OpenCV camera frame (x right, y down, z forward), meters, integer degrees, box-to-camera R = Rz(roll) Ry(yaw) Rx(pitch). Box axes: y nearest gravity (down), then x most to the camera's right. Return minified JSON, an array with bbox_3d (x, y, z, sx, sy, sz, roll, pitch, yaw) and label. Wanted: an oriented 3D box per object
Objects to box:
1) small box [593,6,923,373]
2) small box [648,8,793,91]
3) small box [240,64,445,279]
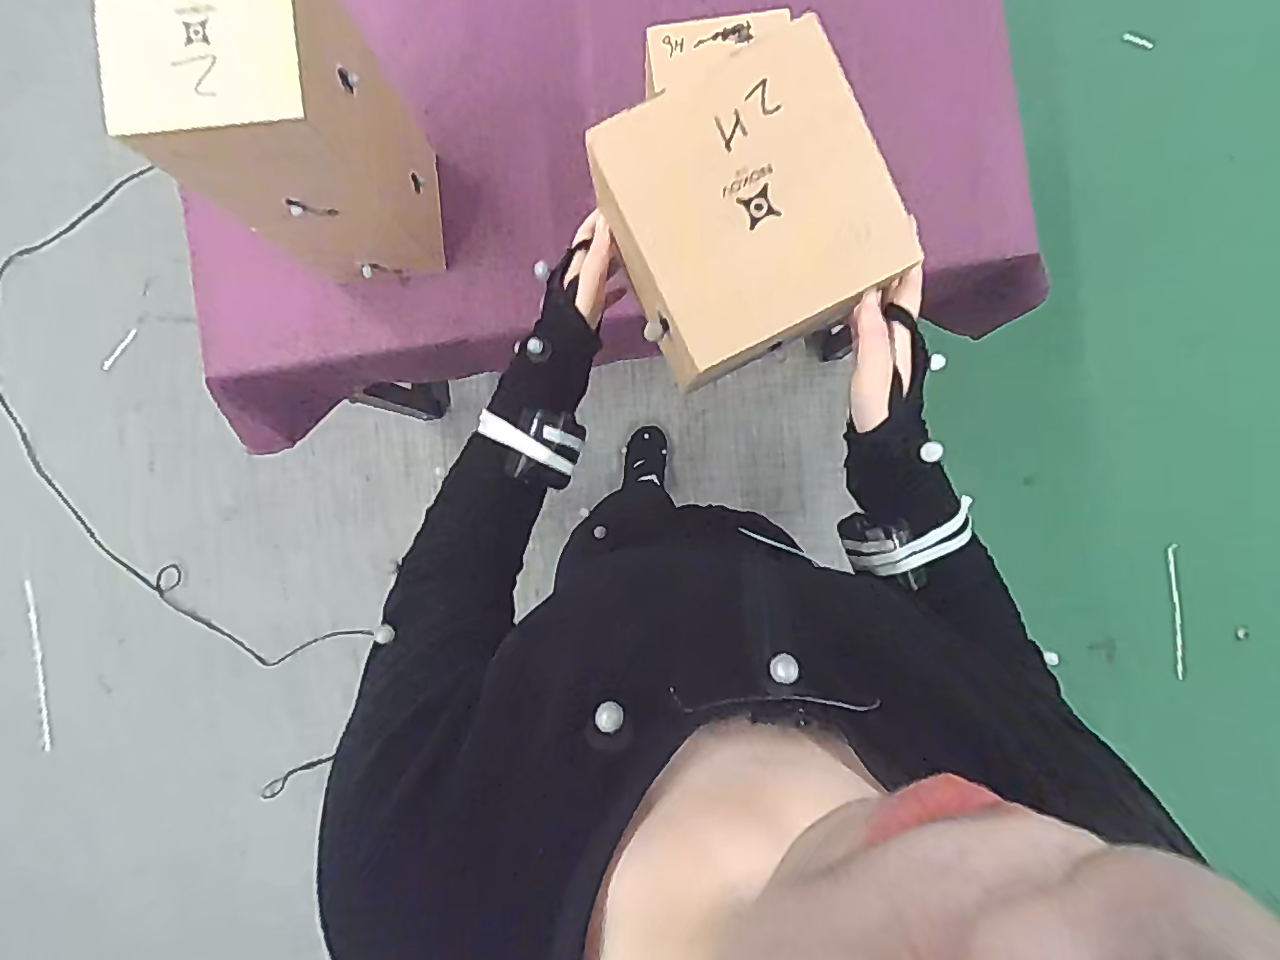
[{"bbox_3d":[0.079,-0.197,0.432,0.168,0.176,0.179,-26,93,2],"label":"small box"},{"bbox_3d":[0.100,-0.437,0.689,0.168,0.176,0.179,-7,91,0],"label":"small box"},{"bbox_3d":[-0.363,-0.378,0.689,0.168,0.176,0.179,-5,91,0],"label":"small box"}]
